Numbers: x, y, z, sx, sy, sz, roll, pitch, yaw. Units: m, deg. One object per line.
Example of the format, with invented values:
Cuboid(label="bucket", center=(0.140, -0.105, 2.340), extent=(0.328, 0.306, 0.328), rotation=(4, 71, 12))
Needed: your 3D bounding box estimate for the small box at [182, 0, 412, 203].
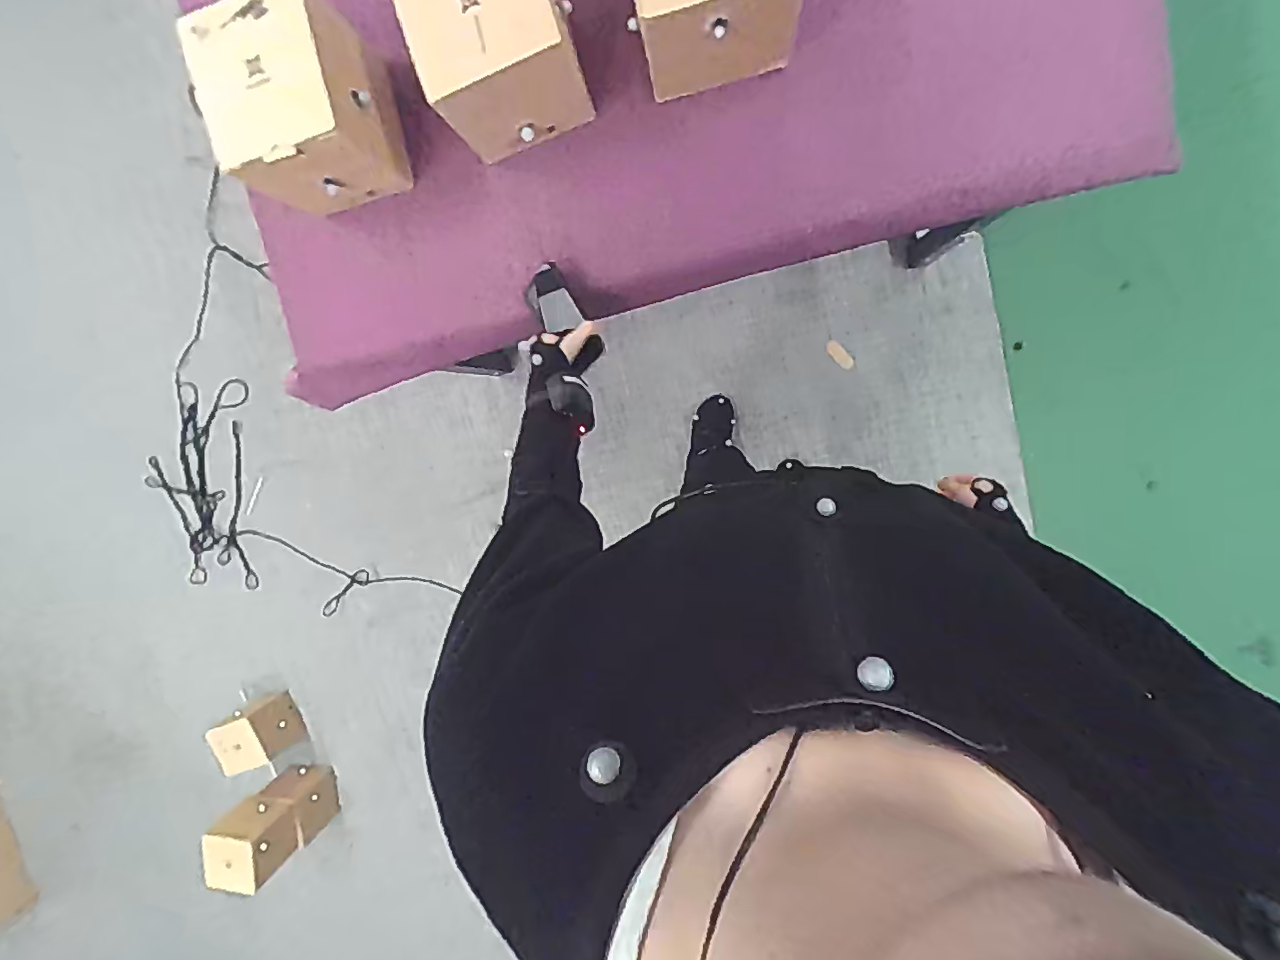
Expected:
Cuboid(label="small box", center=(-0.428, -0.486, 0.706), extent=(0.168, 0.176, 0.179), rotation=(-11, 97, 10))

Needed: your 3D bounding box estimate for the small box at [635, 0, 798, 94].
Cuboid(label="small box", center=(0.083, -0.582, 0.613), extent=(0.179, 0.176, 0.168), rotation=(-8, 97, 10))

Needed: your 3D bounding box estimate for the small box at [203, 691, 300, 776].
Cuboid(label="small box", center=(-1.250, 0.817, 1.760), extent=(0.179, 0.176, 0.168), rotation=(-21, 95, 11))

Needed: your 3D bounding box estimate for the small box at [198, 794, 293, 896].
Cuboid(label="small box", center=(-1.179, 1.093, 1.627), extent=(0.168, 0.176, 0.179), rotation=(4, 98, 9))

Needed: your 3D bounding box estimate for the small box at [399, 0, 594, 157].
Cuboid(label="small box", center=(-0.170, -0.540, 0.658), extent=(0.168, 0.176, 0.179), rotation=(-16, 96, 11))
